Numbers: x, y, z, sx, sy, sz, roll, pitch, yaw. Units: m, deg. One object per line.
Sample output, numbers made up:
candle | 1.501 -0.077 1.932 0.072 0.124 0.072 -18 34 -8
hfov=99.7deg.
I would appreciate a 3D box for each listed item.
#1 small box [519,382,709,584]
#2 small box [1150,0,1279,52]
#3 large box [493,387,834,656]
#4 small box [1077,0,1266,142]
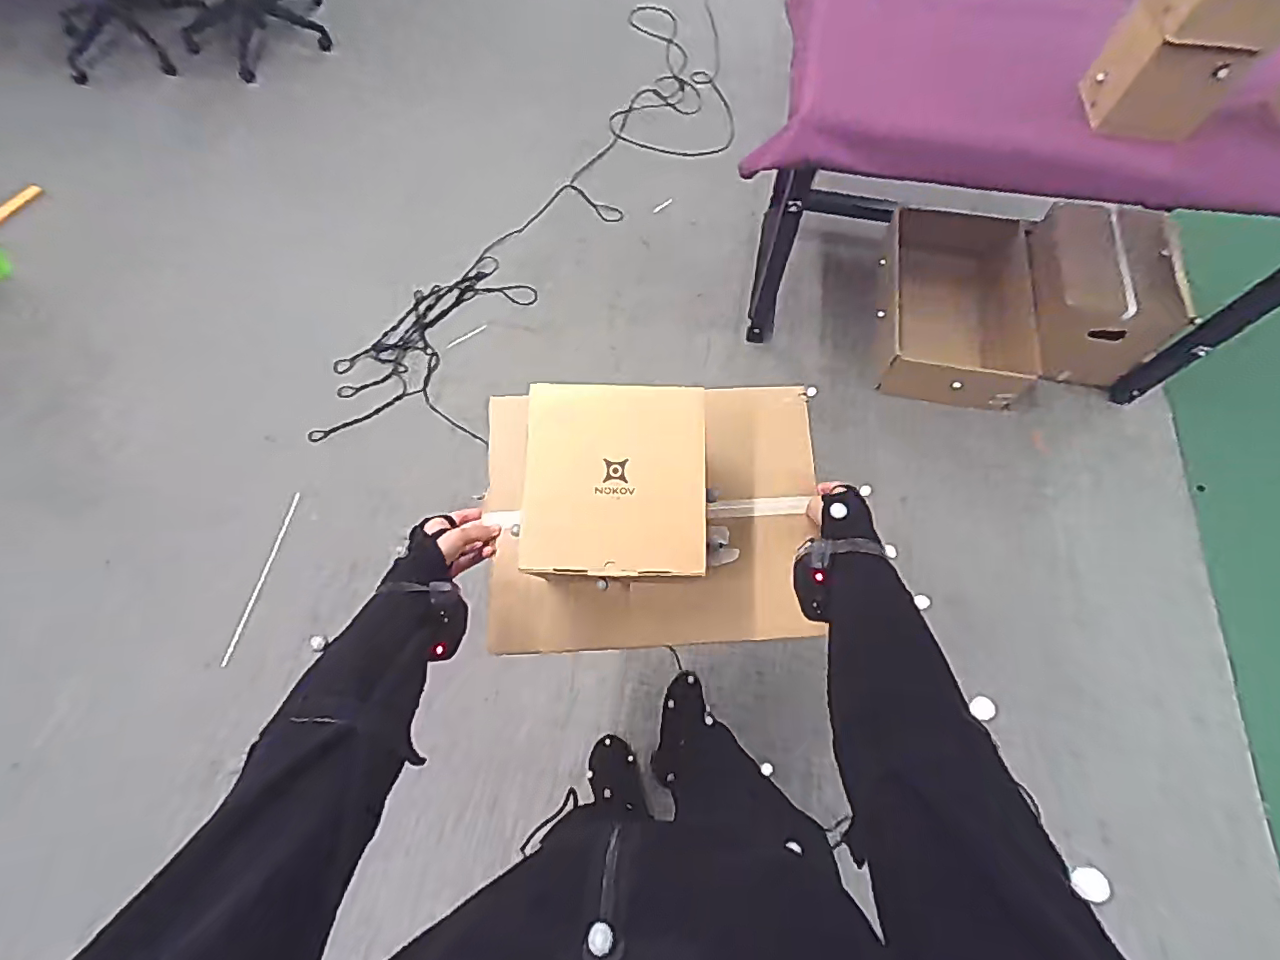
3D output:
small box | -0.023 0.014 0.560 0.168 0.176 0.179 2 78 -1
small box | 0.977 -0.826 0.866 0.179 0.176 0.168 7 66 4
large box | 0.016 0.071 0.798 0.408 0.320 0.320 -2 79 -3
small box | 0.985 -0.773 1.022 0.179 0.176 0.168 9 65 5
